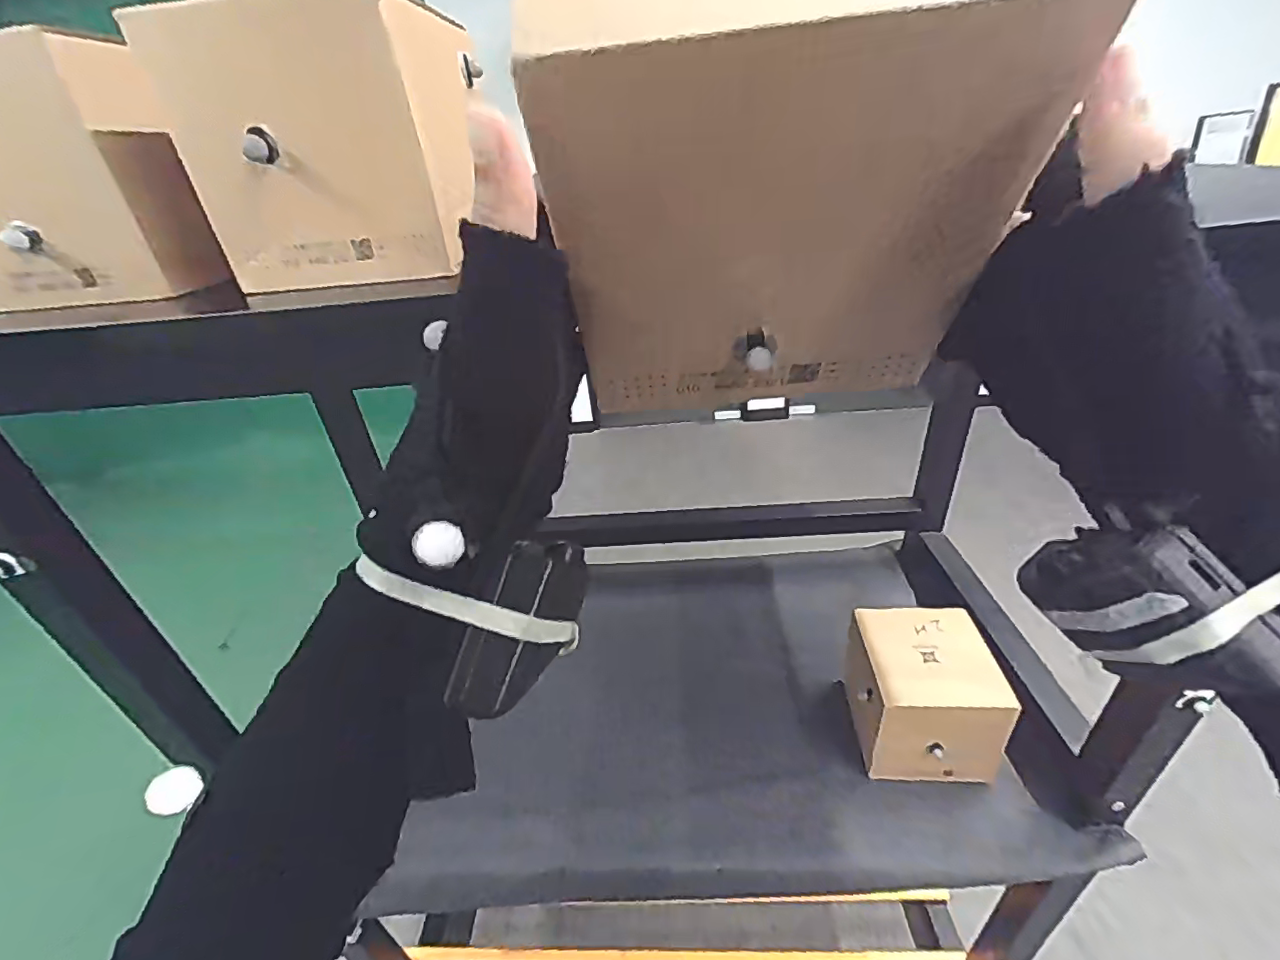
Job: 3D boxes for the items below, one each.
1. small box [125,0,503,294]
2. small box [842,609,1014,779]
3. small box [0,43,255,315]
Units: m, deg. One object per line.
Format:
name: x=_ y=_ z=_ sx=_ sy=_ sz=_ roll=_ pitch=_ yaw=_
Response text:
small box: x=-0.223 y=-0.252 z=0.434 sx=0.168 sy=0.176 sz=0.179 roll=-3 pitch=31 yaw=5
small box: x=0.406 y=0.312 z=0.797 sx=0.168 sy=0.176 sz=0.179 roll=-1 pitch=31 yaw=7
small box: x=-0.446 y=-0.248 z=0.462 sx=0.168 sy=0.176 sz=0.179 roll=-3 pitch=32 yaw=5
